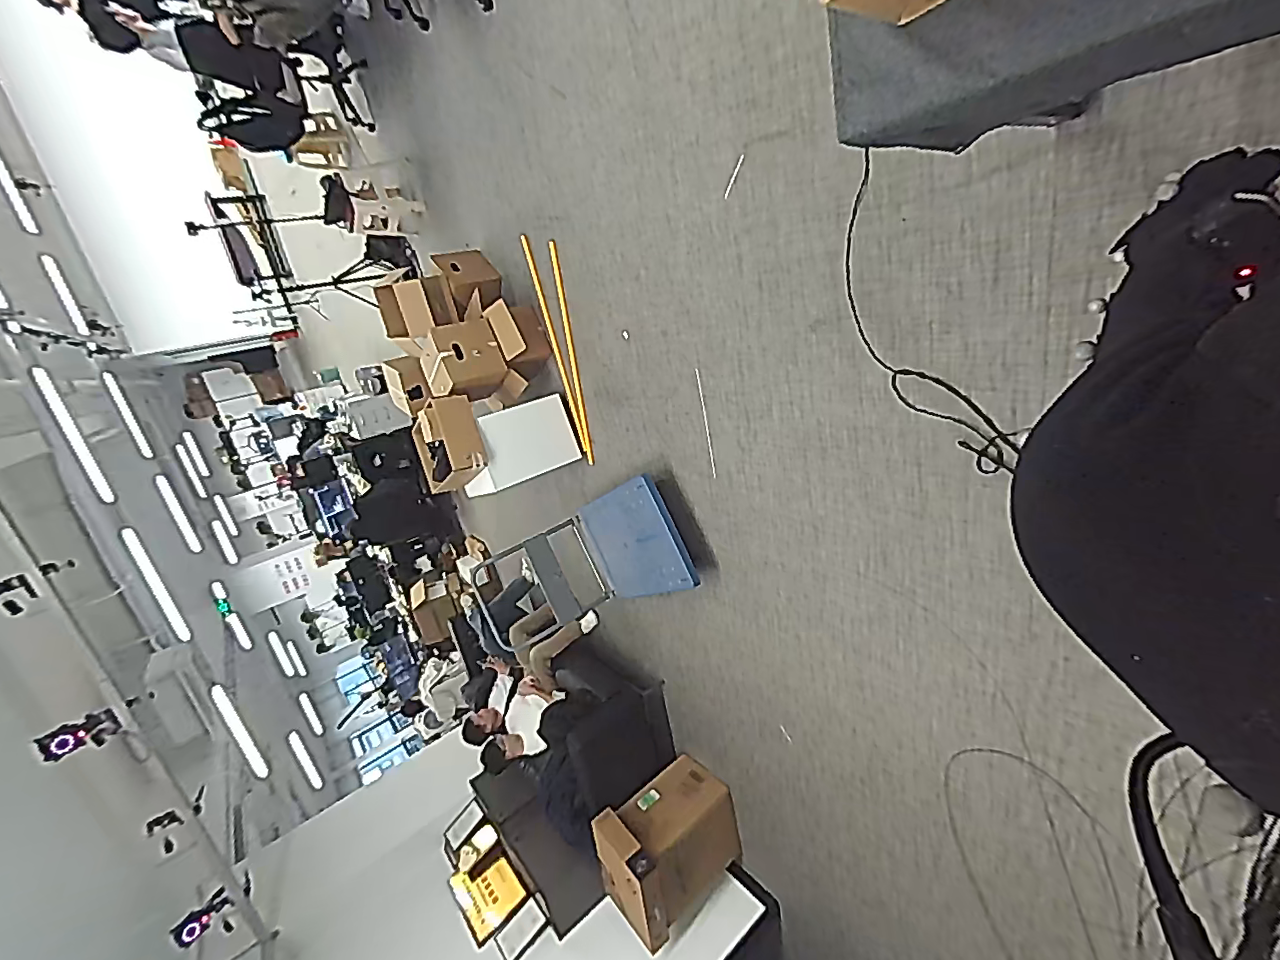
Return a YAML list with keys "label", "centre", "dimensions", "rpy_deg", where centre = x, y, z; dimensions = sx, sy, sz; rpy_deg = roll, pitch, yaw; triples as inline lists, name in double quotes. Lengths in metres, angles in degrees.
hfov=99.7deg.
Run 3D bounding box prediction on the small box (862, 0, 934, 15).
- label: "small box"
  centre: [0.282, -0.601, 0.523]
  dimensions: [0.168, 0.176, 0.179]
  rpy_deg: [10, 118, 52]
